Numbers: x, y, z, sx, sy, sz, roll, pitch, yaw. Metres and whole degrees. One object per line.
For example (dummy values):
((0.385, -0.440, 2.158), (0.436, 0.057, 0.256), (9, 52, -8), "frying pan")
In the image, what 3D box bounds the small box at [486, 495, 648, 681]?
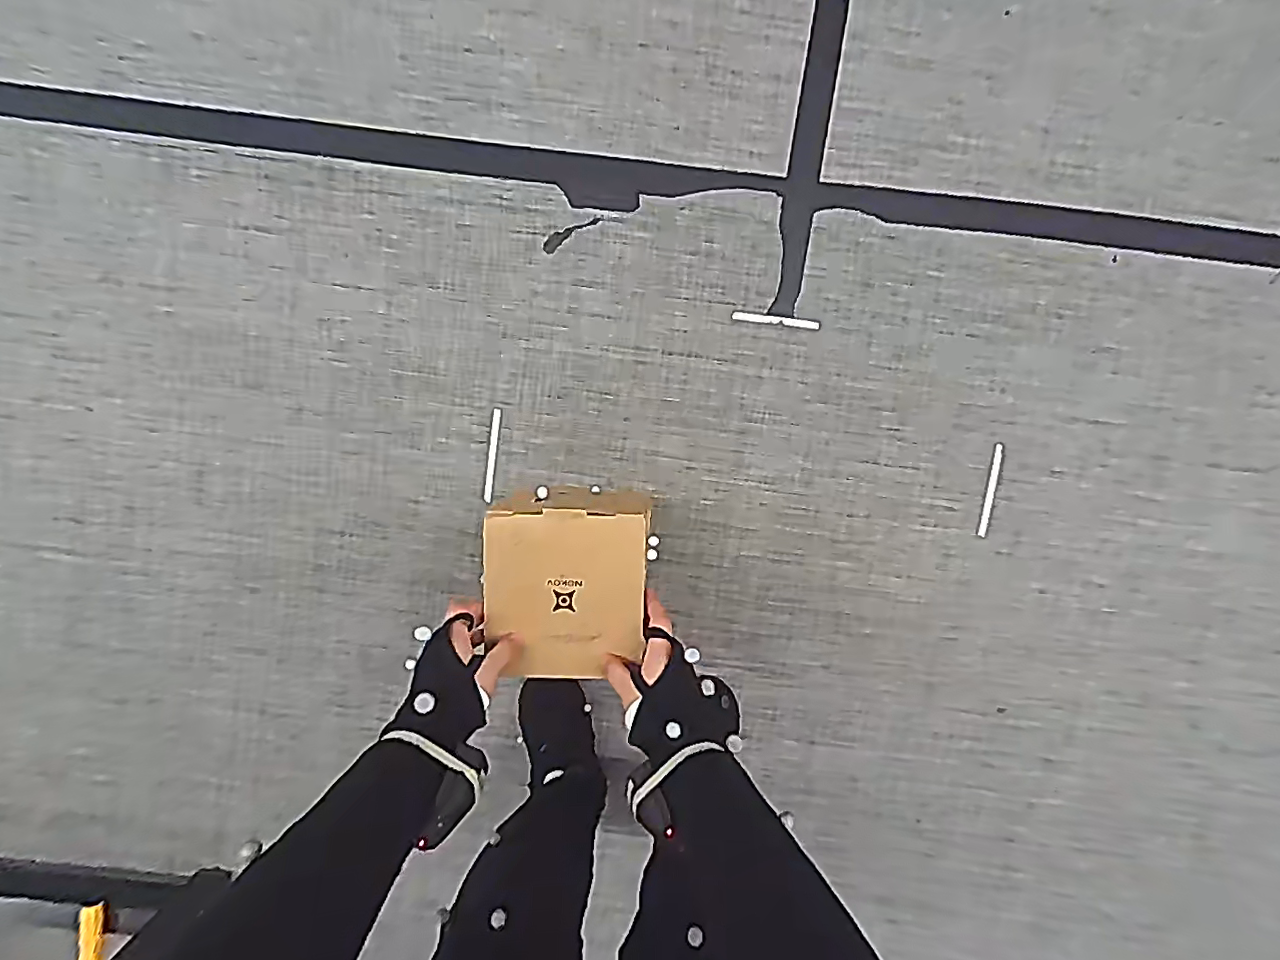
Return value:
((-0.077, 0.113, 0.632), (0.168, 0.176, 0.179), (1, 97, 0), "small box")
